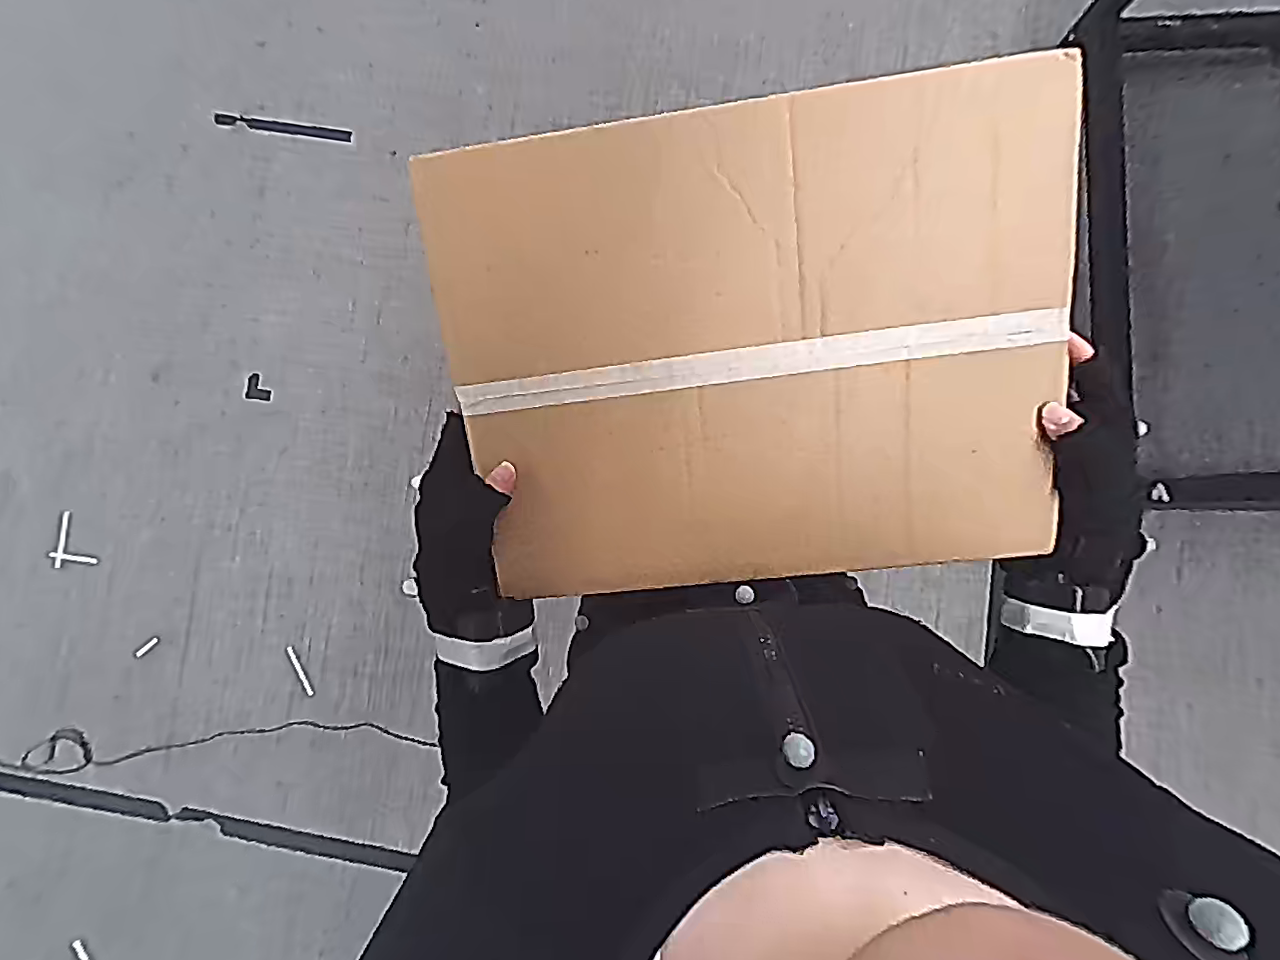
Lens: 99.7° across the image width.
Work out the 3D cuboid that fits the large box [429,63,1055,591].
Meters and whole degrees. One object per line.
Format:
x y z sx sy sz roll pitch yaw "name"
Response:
0.080 -0.116 0.520 0.408 0.320 0.320 -6 105 5 "large box"
